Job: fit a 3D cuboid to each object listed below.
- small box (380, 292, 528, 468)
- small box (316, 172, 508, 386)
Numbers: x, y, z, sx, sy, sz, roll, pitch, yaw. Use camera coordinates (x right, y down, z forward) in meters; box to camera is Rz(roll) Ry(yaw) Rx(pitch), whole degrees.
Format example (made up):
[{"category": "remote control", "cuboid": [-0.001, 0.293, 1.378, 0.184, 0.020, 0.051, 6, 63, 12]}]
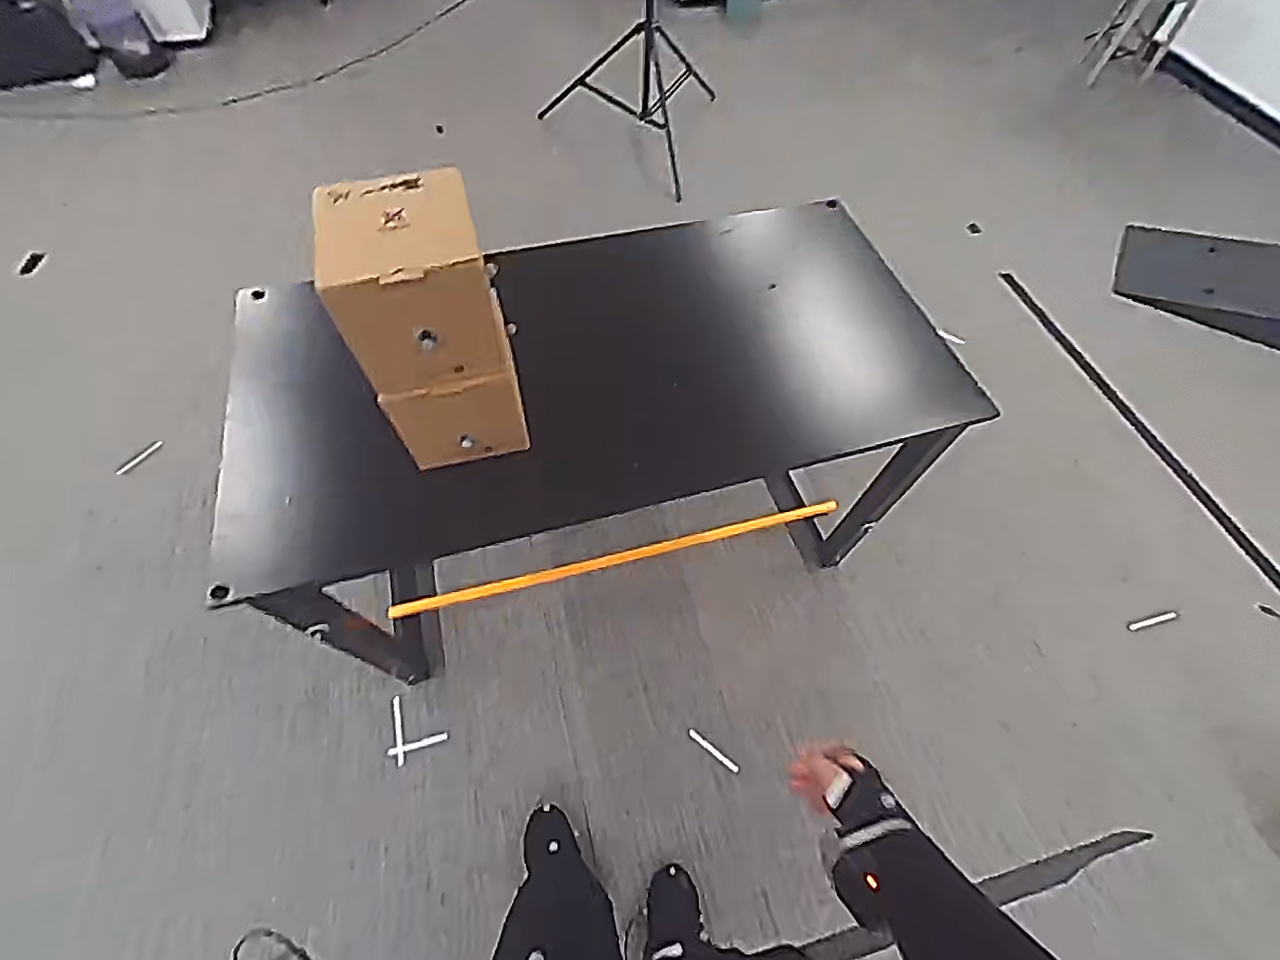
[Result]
[{"category": "small box", "cuboid": [-0.267, -0.144, 0.794, 0.168, 0.176, 0.179, -12, 61, -8]}, {"category": "small box", "cuboid": [-0.266, -0.233, 0.656, 0.168, 0.176, 0.179, -14, 62, -10]}]
